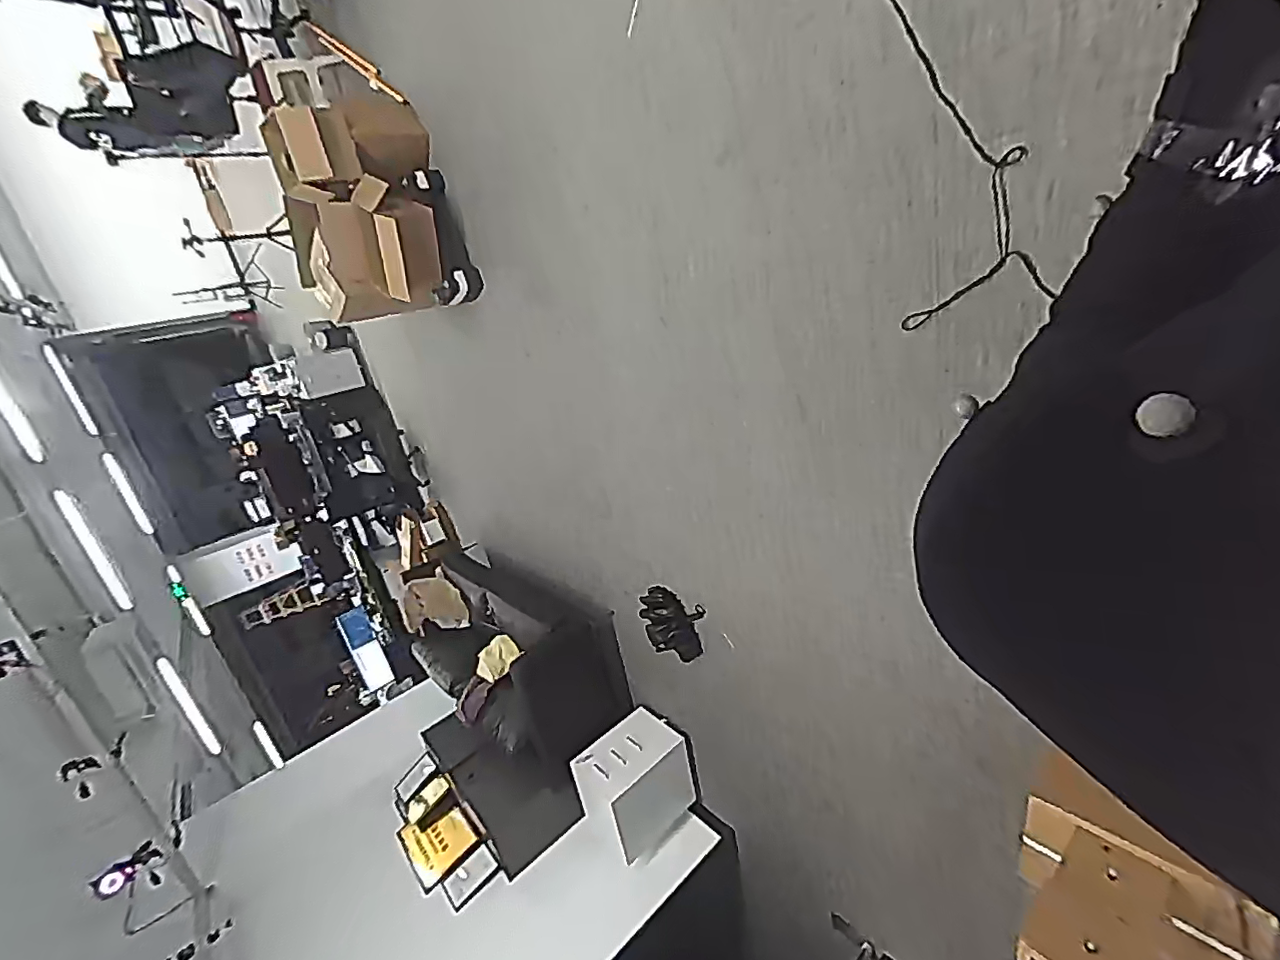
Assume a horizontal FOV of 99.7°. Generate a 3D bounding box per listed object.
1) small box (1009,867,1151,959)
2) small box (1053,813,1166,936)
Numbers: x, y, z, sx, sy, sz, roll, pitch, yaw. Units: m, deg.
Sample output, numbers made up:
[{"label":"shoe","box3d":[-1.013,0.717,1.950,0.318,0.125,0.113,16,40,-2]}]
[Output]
[{"label":"small box","box3d":[0.887,0.936,1.094,0.179,0.176,0.168,18,126,45]},{"label":"small box","box3d":[1.017,0.885,1.183,0.168,0.176,0.179,15,123,47]}]
